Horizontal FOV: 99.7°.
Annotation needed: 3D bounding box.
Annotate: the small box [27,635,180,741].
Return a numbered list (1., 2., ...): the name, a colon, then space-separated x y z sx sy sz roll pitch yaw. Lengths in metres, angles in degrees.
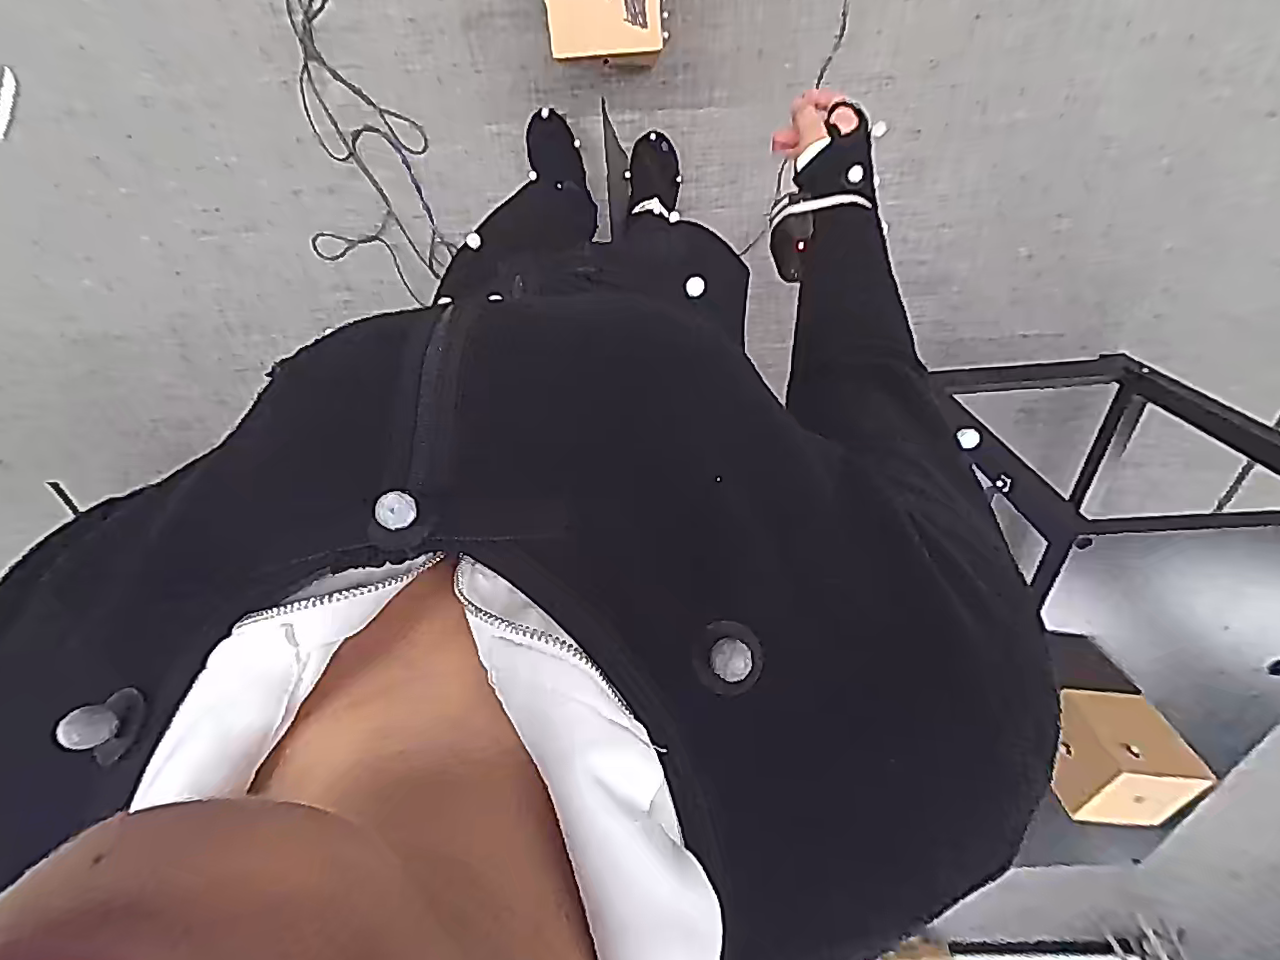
1. small box: -1.334 0.521 1.361 0.179 0.176 0.168 -15 124 5

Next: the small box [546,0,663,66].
1. small box: -0.055 -0.780 0.870 0.179 0.176 0.168 -2 123 3

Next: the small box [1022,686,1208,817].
1. small box: 0.900 0.522 1.050 0.179 0.176 0.168 6 124 -4
